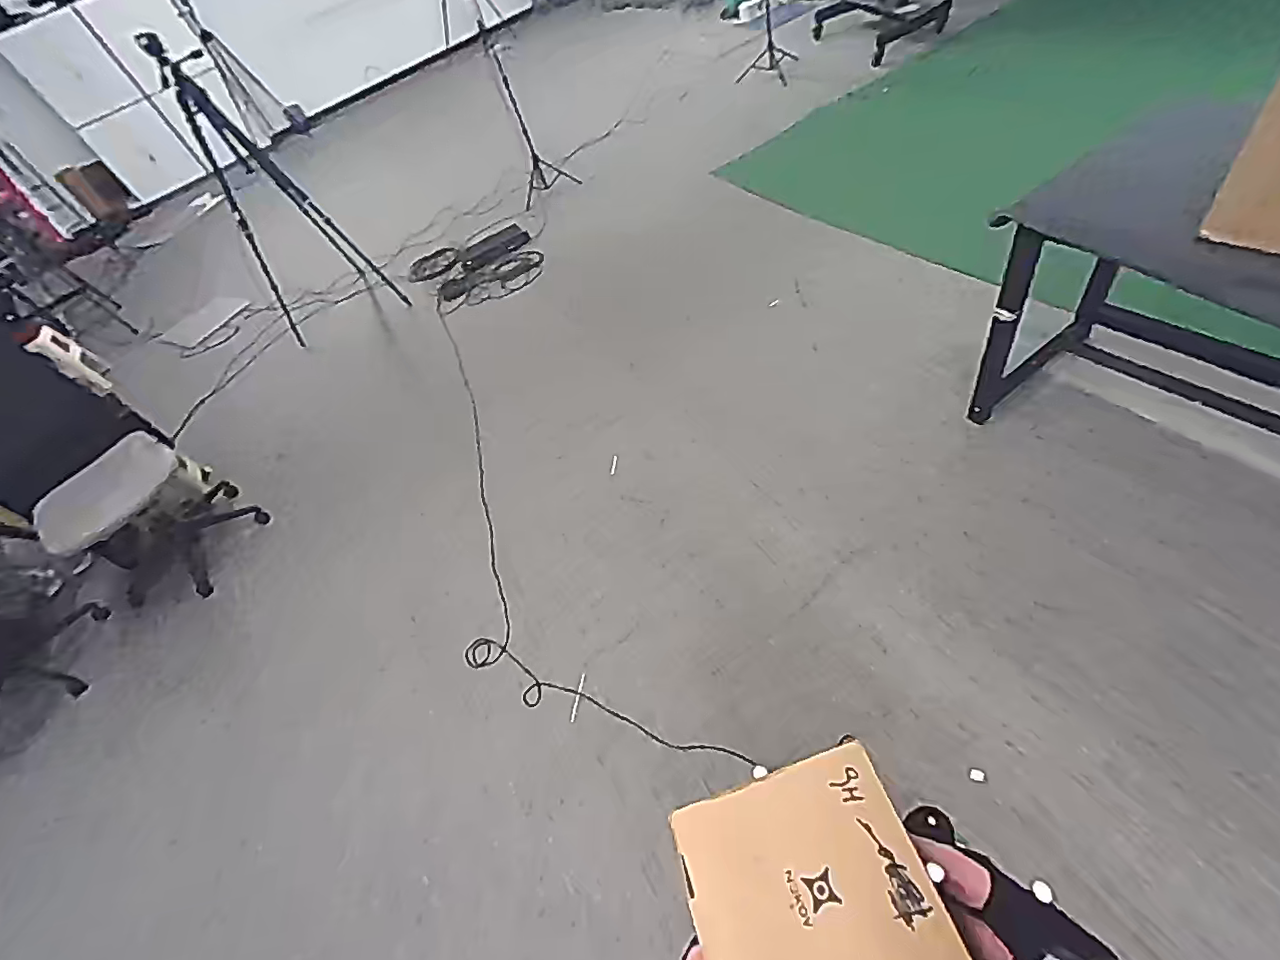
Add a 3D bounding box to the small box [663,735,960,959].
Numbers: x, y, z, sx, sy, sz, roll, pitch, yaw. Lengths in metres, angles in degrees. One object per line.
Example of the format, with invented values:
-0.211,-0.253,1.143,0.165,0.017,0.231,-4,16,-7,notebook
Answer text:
0.139,0.349,0.478,0.179,0.176,0.168,-21,56,2,small box
